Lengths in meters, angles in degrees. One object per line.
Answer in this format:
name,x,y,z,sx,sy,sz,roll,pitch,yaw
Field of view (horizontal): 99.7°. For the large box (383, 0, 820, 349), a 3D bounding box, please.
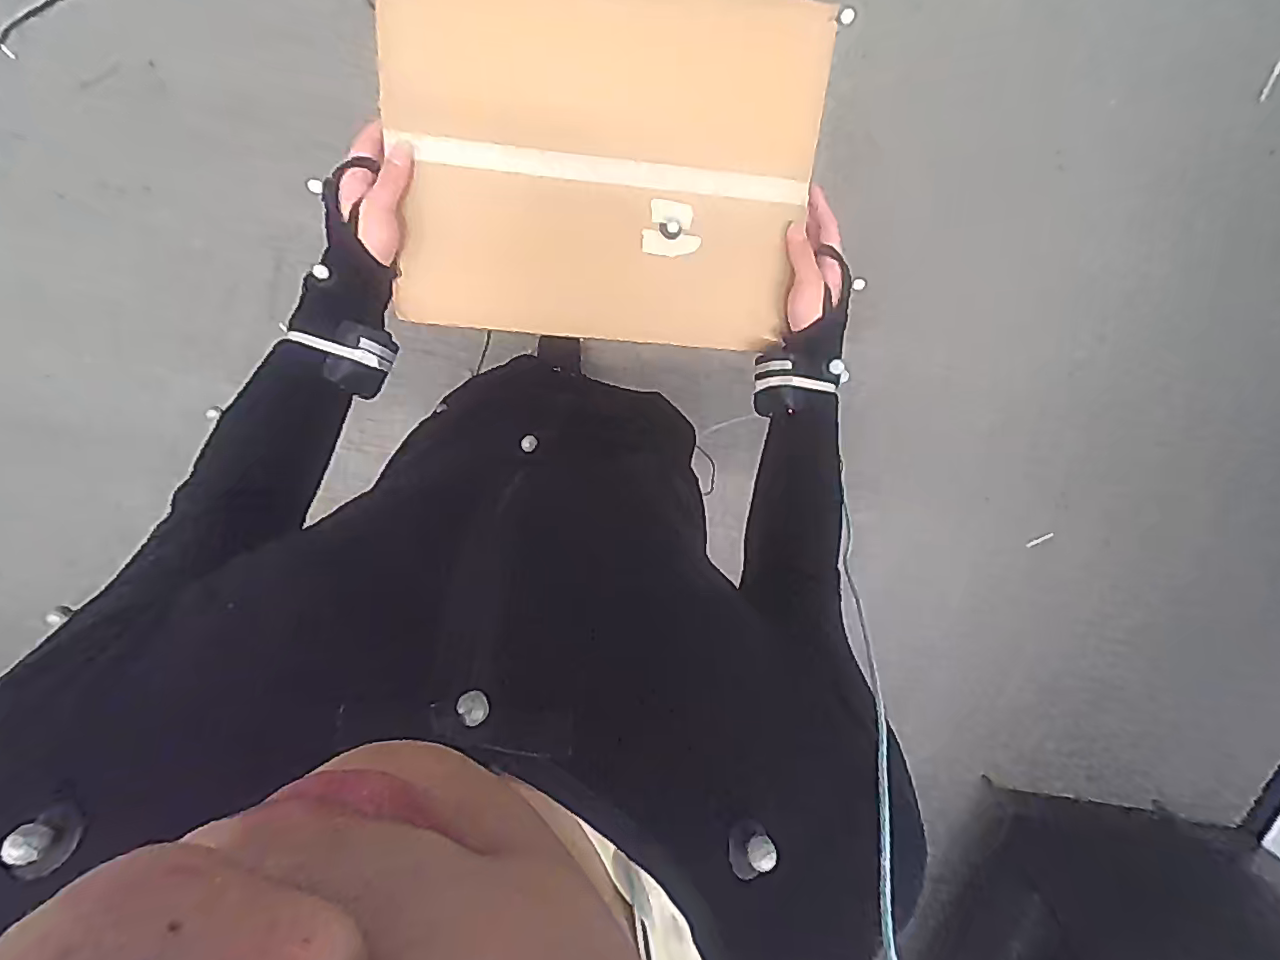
large box,-0.053,-0.344,0.671,0.408,0.320,0.320,2,109,-7
